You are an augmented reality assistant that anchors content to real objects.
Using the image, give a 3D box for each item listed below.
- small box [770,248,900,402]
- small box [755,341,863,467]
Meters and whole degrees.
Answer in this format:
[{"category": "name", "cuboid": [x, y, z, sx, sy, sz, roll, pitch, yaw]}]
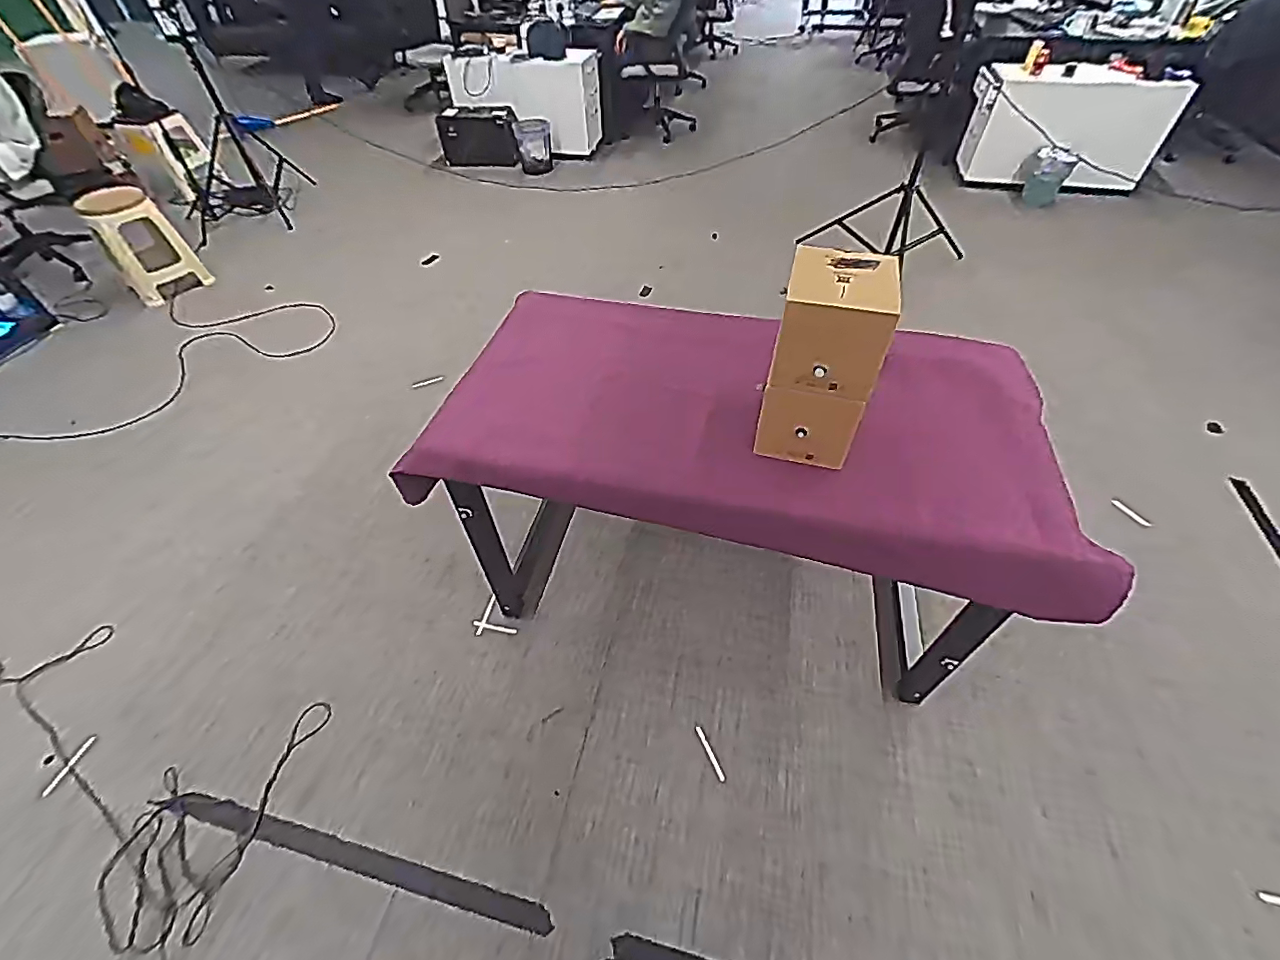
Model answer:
[{"category": "small box", "cuboid": [0.320, -0.259, 0.904, 0.168, 0.176, 0.179, 11, 50, 11]}, {"category": "small box", "cuboid": [0.318, -0.148, 1.025, 0.168, 0.176, 0.179, 12, 50, 11]}]
